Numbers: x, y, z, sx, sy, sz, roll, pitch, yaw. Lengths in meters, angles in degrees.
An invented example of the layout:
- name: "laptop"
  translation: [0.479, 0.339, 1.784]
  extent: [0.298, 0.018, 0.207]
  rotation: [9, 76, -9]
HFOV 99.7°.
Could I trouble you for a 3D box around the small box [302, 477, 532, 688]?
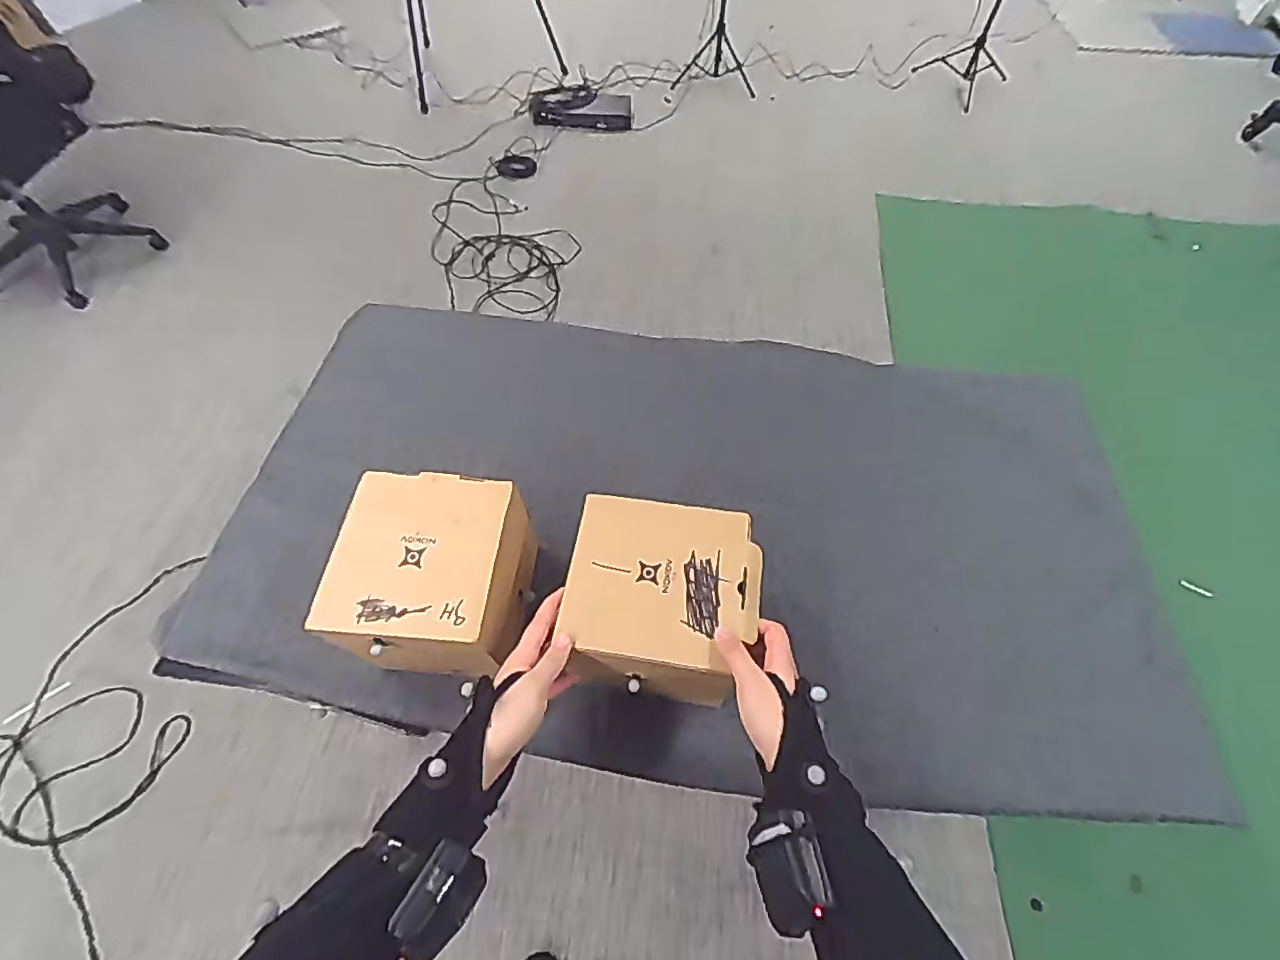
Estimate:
- name: "small box"
  translation: [-0.226, 0.118, 0.608]
  extent: [0.168, 0.176, 0.179]
  rotation: [4, 58, 4]
